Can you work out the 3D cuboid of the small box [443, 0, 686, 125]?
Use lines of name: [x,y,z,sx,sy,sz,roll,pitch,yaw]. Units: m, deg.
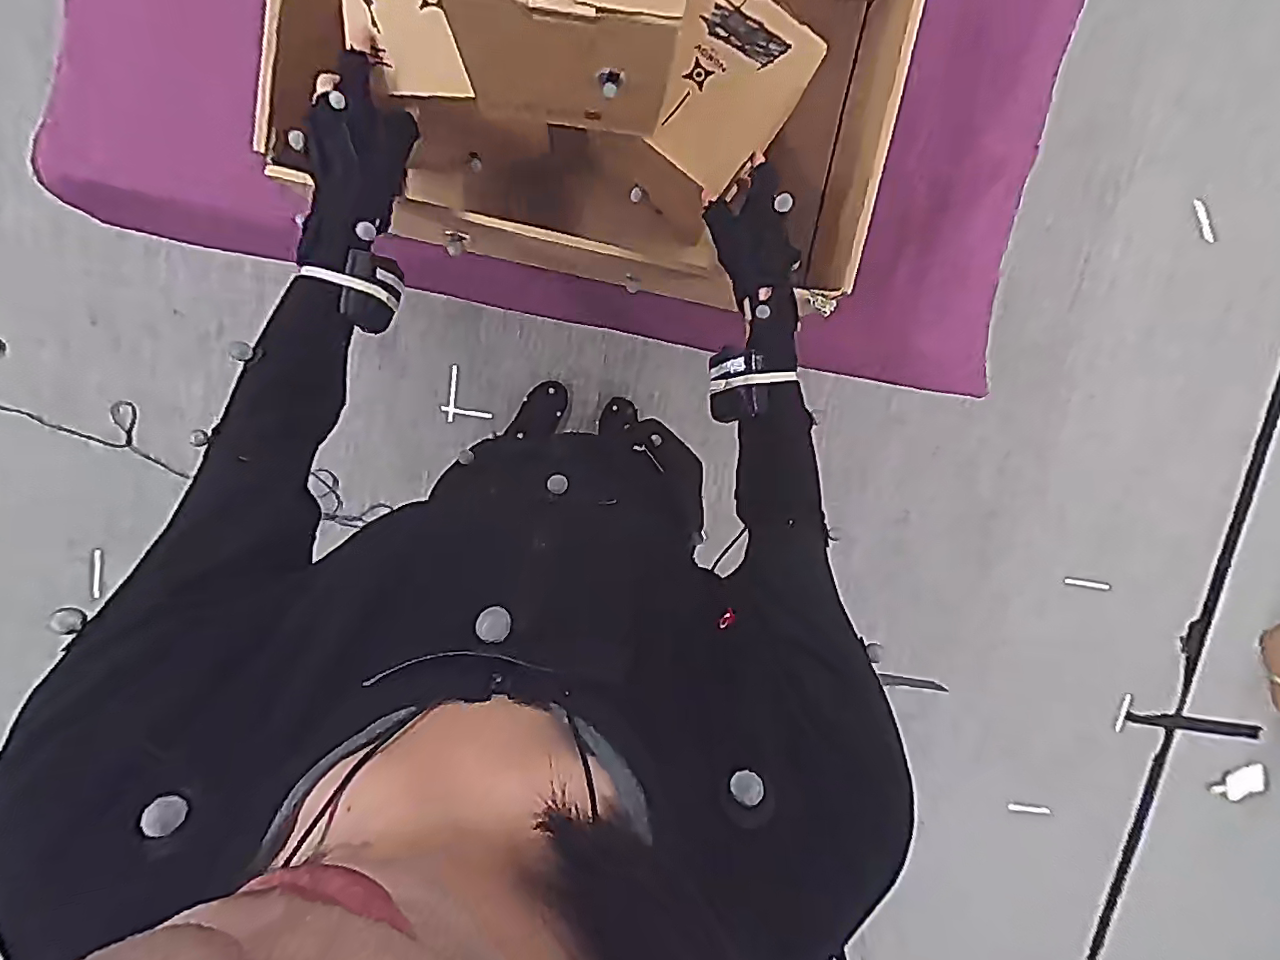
small box: [-0.049,-0.408,0.412,0.168,0.176,0.179,4,98,-7]
